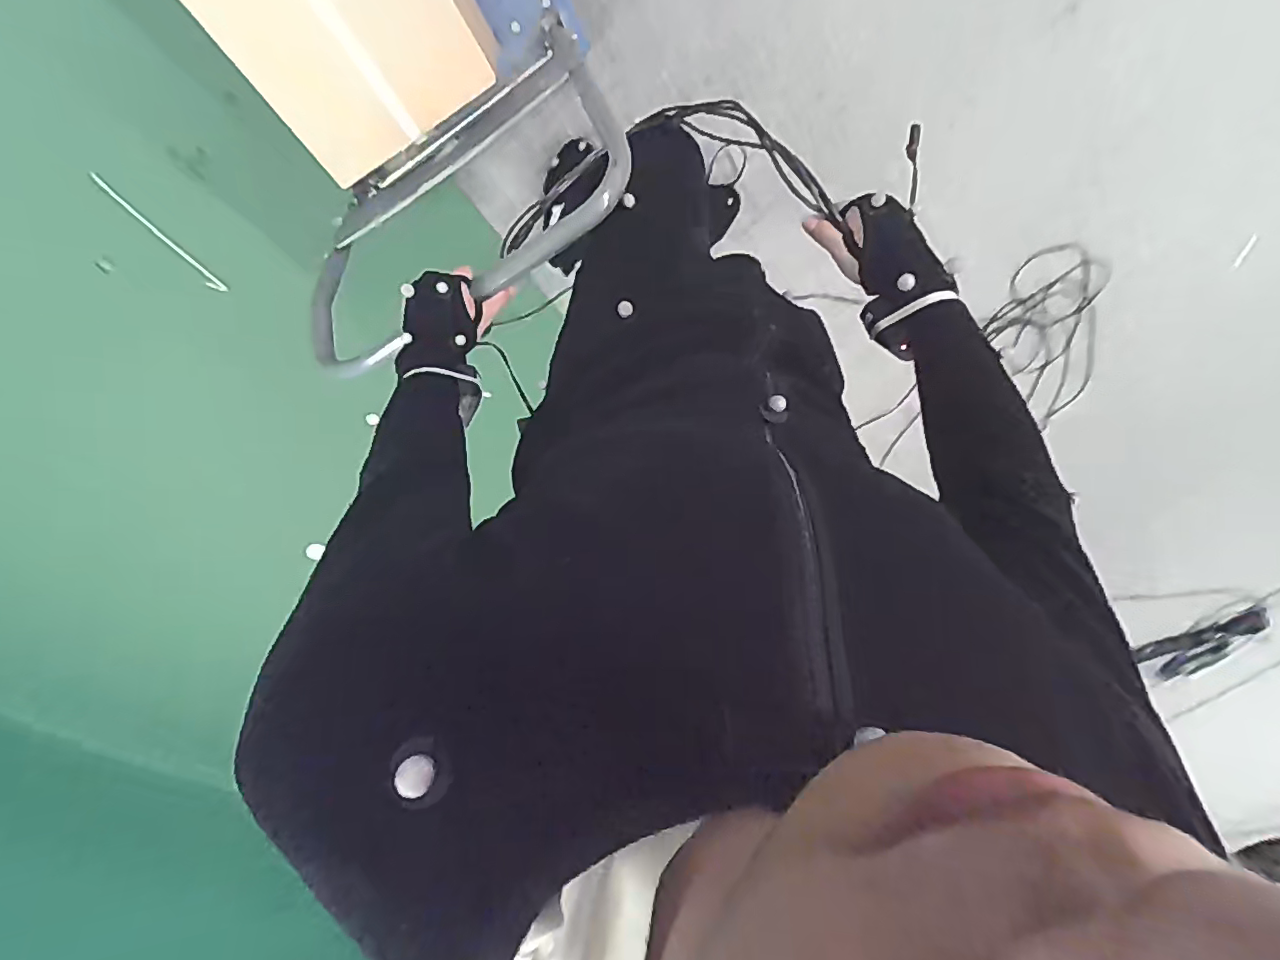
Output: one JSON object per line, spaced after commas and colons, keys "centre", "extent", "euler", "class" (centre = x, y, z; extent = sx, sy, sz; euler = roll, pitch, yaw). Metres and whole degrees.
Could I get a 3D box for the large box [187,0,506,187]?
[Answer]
{"centre": [-0.457, -0.764, 0.838], "extent": [0.320, 0.320, 0.408], "euler": [-26, 133, 12], "class": "large box"}
